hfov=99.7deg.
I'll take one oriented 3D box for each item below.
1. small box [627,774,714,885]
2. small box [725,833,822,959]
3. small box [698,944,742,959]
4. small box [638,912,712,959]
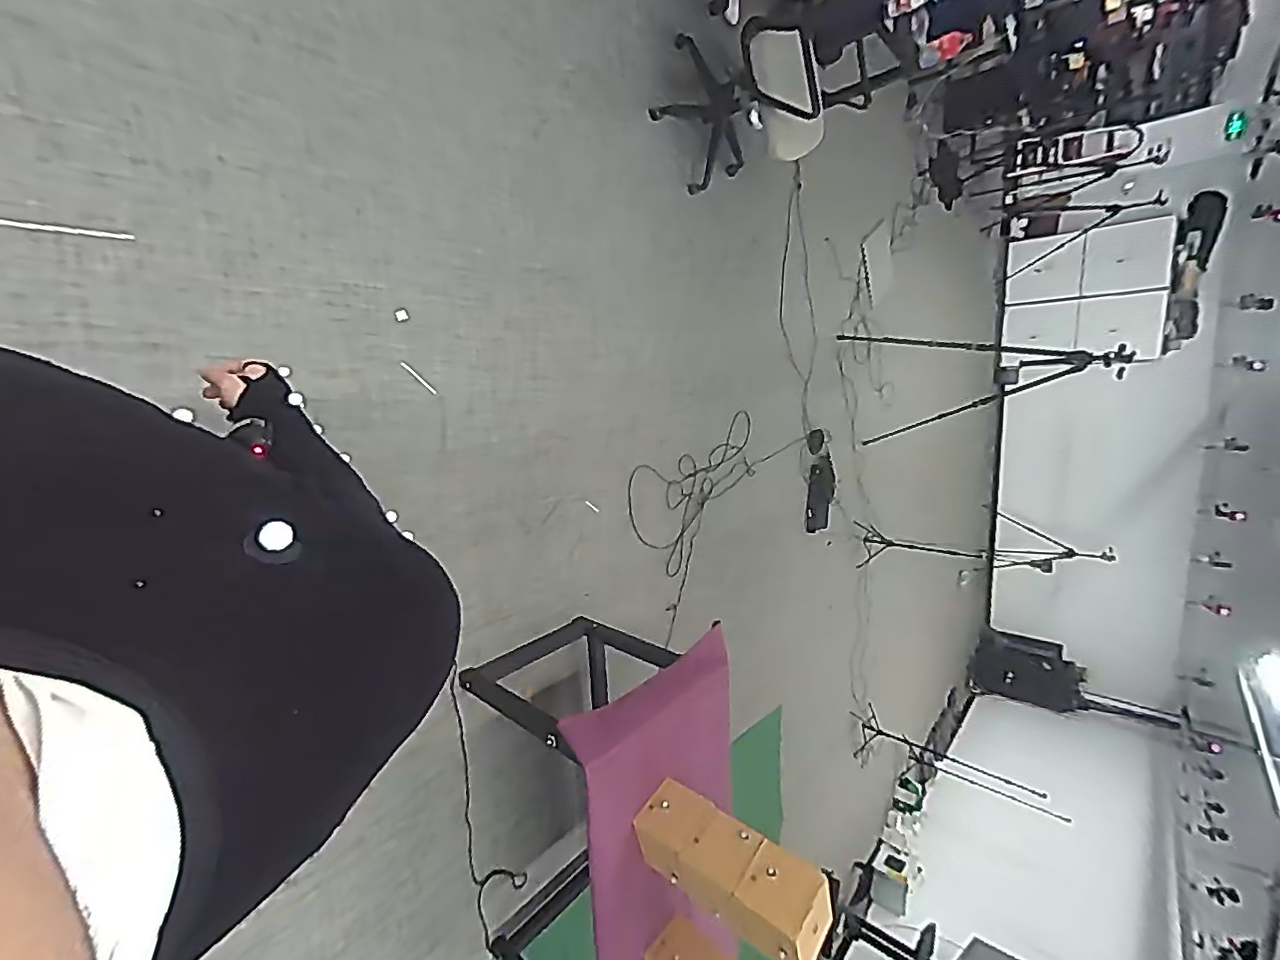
[{"bbox_3d":[0.088,0.992,1.552,0.168,0.176,0.179,-32,118,-43],"label":"small box"},{"bbox_3d":[0.329,1.025,1.334,0.168,0.176,0.179,-33,119,-41],"label":"small box"},{"bbox_3d":[0.229,1.474,1.526,0.168,0.176,0.179,-13,103,-47],"label":"small box"},{"bbox_3d":[0.105,1.461,1.631,0.168,0.176,0.179,-11,103,-48],"label":"small box"}]
